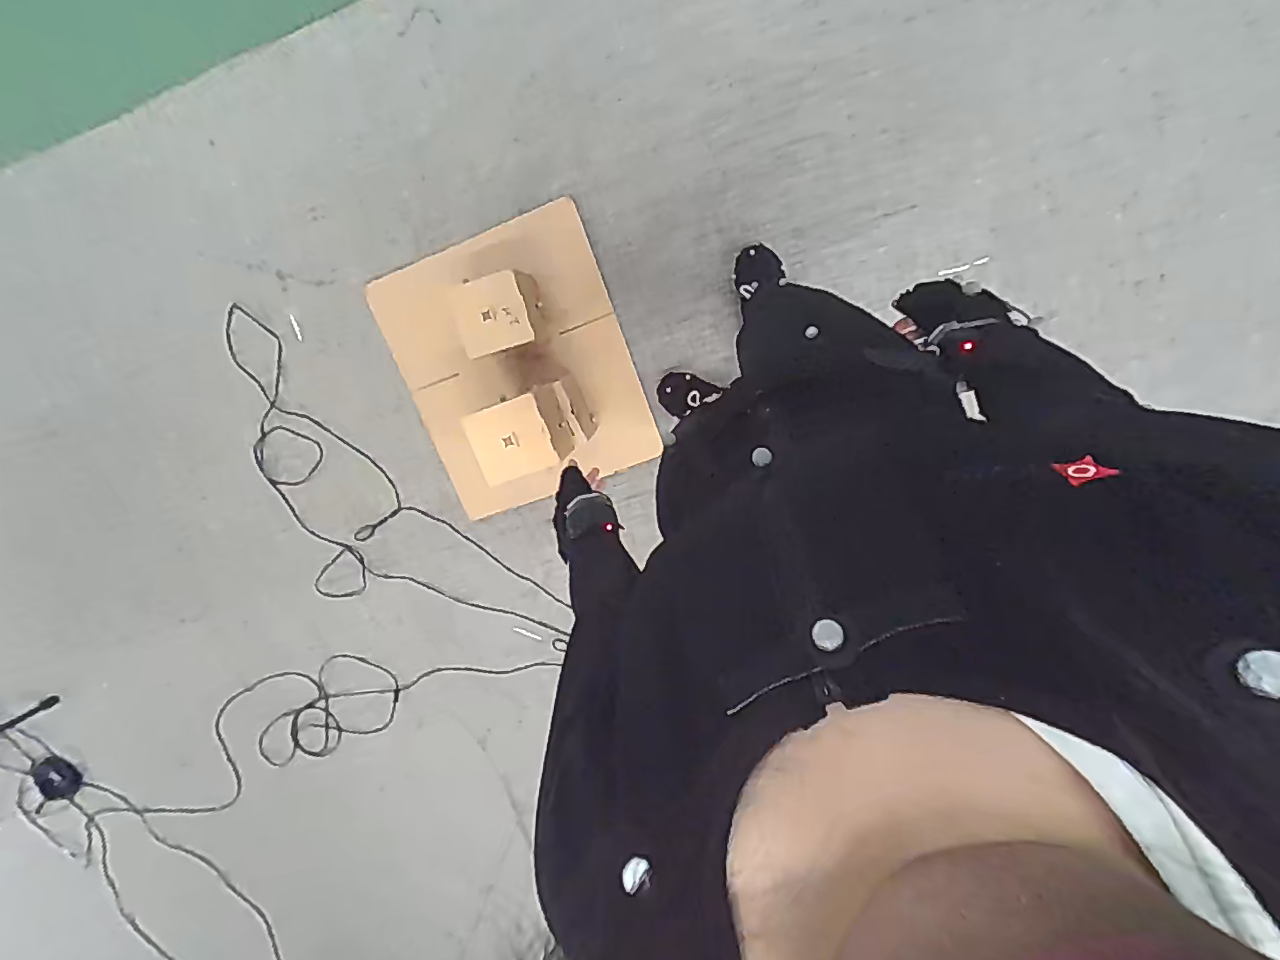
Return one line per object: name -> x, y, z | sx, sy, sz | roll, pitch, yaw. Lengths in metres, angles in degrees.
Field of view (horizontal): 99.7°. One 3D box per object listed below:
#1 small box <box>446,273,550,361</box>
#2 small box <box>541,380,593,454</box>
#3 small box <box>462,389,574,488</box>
small box -> -0.342, -0.397, 1.333 | 0.179, 0.176, 0.168 | -15, 105, 8
small box -> -0.230, -0.148, 1.392 | 0.179, 0.176, 0.168 | -21, 103, 10
small box -> -0.271, -0.099, 1.239 | 0.179, 0.176, 0.168 | -18, 103, 9
